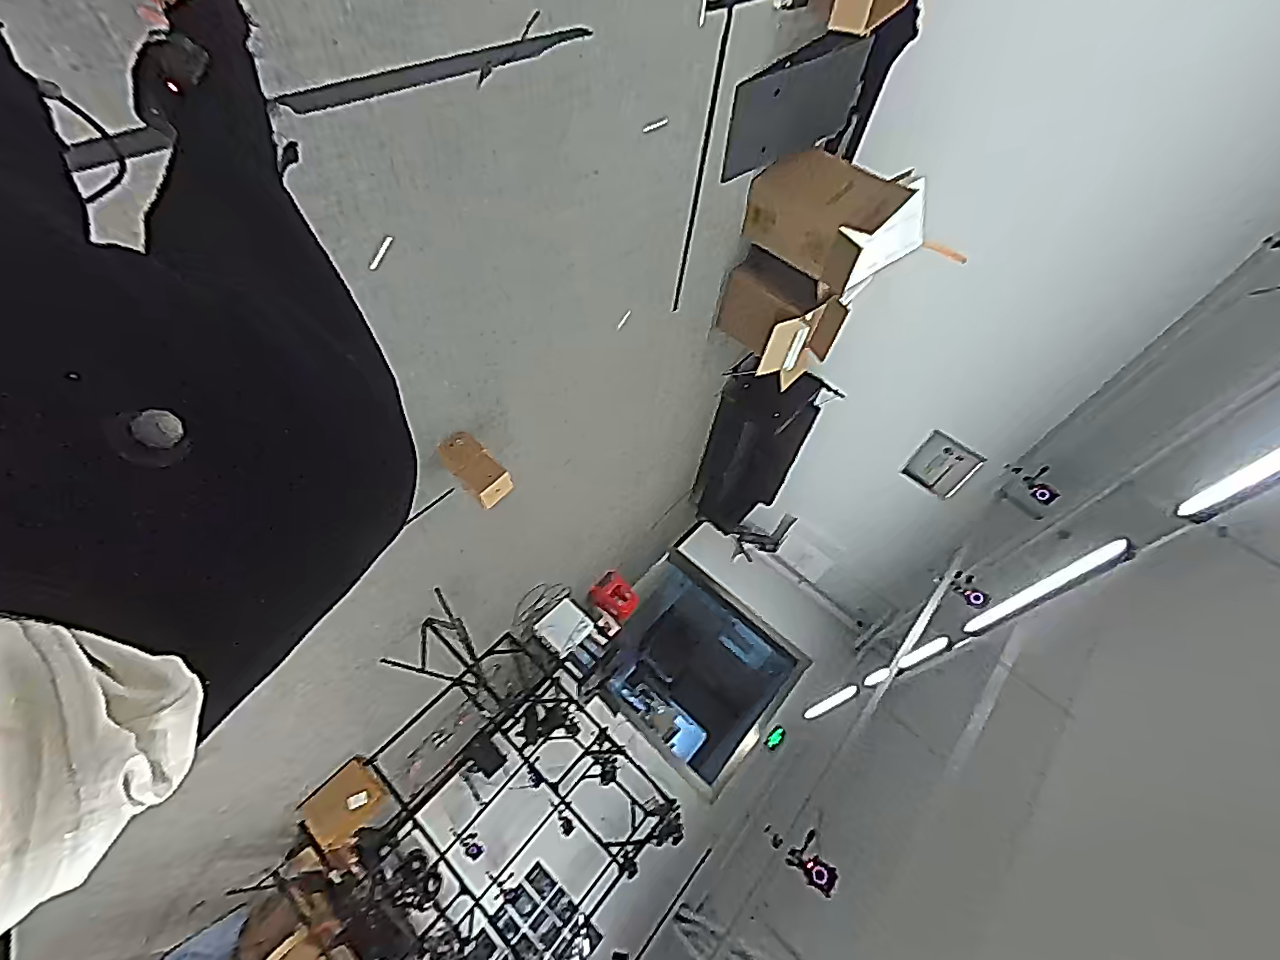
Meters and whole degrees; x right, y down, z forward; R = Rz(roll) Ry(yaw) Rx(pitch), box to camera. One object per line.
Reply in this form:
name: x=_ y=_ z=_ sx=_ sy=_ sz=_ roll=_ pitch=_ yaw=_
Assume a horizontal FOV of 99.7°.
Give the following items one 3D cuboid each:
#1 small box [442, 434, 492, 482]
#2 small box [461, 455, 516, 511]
small box: x=-0.841 y=-0.094 z=2.657 sx=0.168 sy=0.176 sz=0.179 roll=-44 pitch=160 yaw=-24
small box: x=-0.727 y=0.012 z=2.602 sx=0.179 sy=0.176 sz=0.168 roll=-44 pitch=160 yaw=-23
